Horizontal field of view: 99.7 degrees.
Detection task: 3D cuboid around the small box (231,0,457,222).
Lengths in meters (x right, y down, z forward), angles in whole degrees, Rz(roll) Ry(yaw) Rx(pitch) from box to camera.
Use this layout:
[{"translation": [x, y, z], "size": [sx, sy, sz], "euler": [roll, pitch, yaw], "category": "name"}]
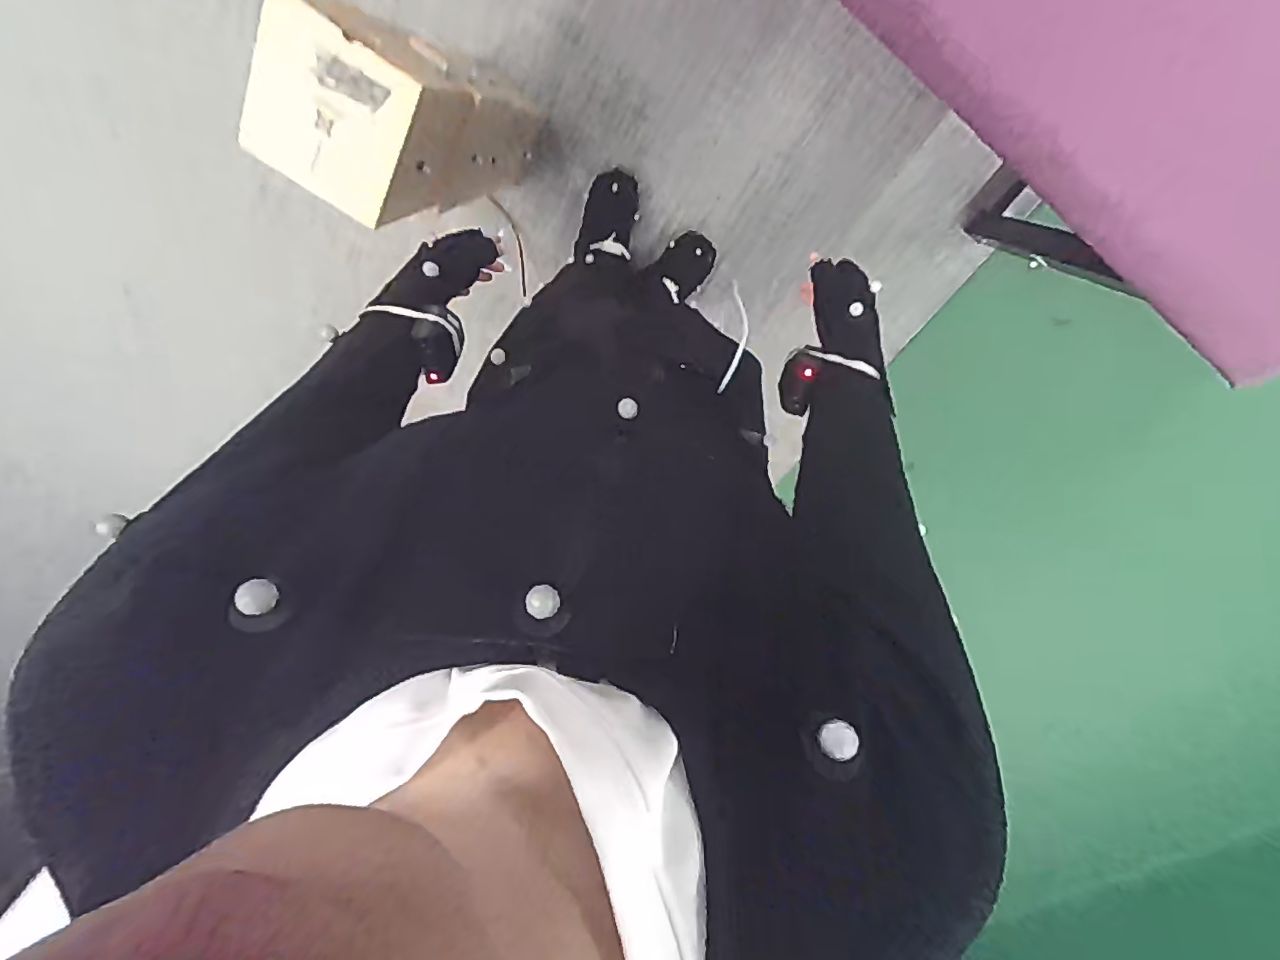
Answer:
[{"translation": [-0.347, -0.458, 0.663], "size": [0.168, 0.176, 0.179], "euler": [31, 122, -17], "category": "small box"}]
